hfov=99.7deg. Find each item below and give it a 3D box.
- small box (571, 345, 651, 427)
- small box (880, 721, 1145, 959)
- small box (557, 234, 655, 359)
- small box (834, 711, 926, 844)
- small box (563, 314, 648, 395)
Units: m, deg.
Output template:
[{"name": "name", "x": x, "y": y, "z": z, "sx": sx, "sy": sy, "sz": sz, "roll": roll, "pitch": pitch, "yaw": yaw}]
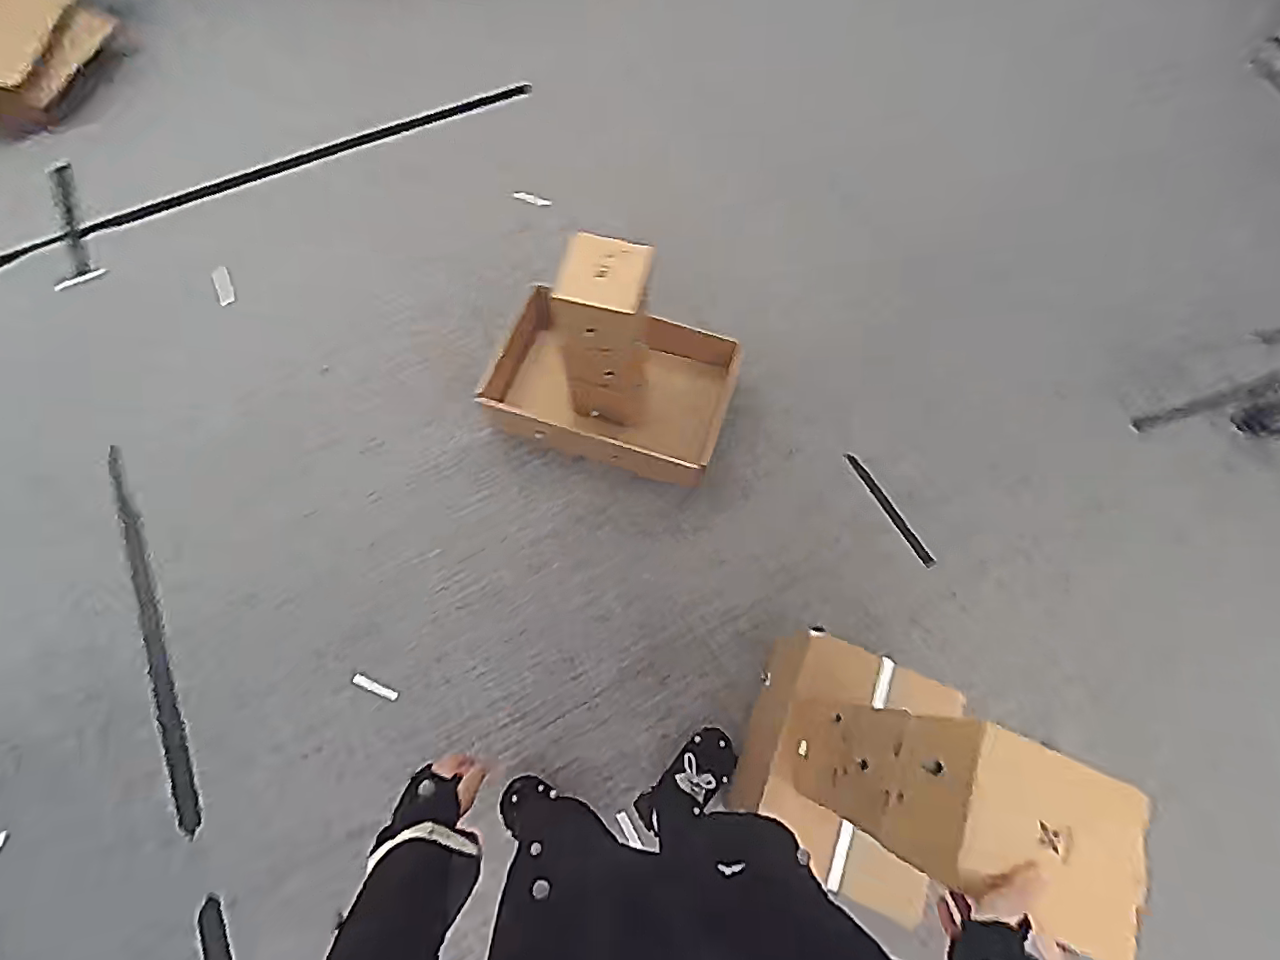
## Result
[{"name": "small box", "x": -0.078, "y": -0.274, "z": 1.475, "sx": 0.168, "sy": 0.176, "sz": 0.179, "roll": 18, "pitch": 71, "yaw": 5}, {"name": "small box", "x": 0.404, "y": 0.390, "z": 0.613, "sx": 0.179, "sy": 0.176, "sz": 0.168, "roll": 24, "pitch": 71, "yaw": 6}, {"name": "small box", "x": -0.069, "y": -0.389, "z": 1.169, "sx": 0.168, "sy": 0.176, "sz": 0.179, "roll": 14, "pitch": 70, "yaw": 2}, {"name": "small box", "x": 0.400, "y": 0.444, "z": 0.766, "sx": 0.179, "sy": 0.176, "sz": 0.168, "roll": 22, "pitch": 71, "yaw": 6}, {"name": "small box", "x": -0.079, "y": -0.334, "z": 1.325, "sx": 0.168, "sy": 0.176, "sz": 0.179, "roll": 15, "pitch": 69, "yaw": 3}]
